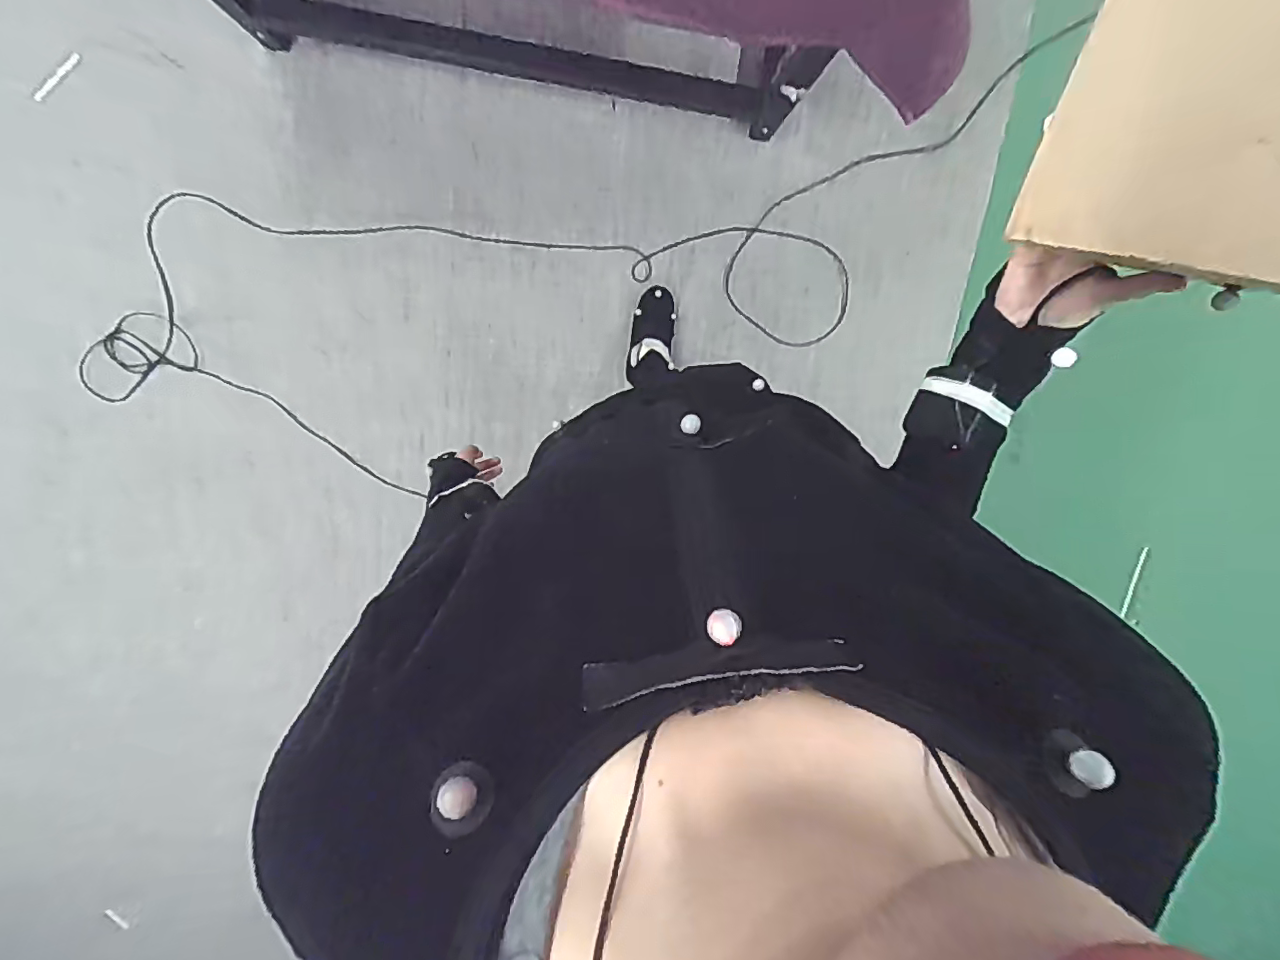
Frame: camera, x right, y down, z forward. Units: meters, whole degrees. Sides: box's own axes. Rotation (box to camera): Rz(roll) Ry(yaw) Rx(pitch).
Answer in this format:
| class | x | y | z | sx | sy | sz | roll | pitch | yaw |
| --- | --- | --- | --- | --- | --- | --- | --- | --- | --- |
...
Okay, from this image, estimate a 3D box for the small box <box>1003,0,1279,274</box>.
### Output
| class | x | y | z | sx | sy | sz | roll | pitch | yaw |
| --- | --- | --- | --- | --- | --- | --- | --- | --- | --- |
| small box | 0.329 | -0.193 | 0.262 | 0.176 | 0.179 | 0.168 | -11 | 124 | -36 |
